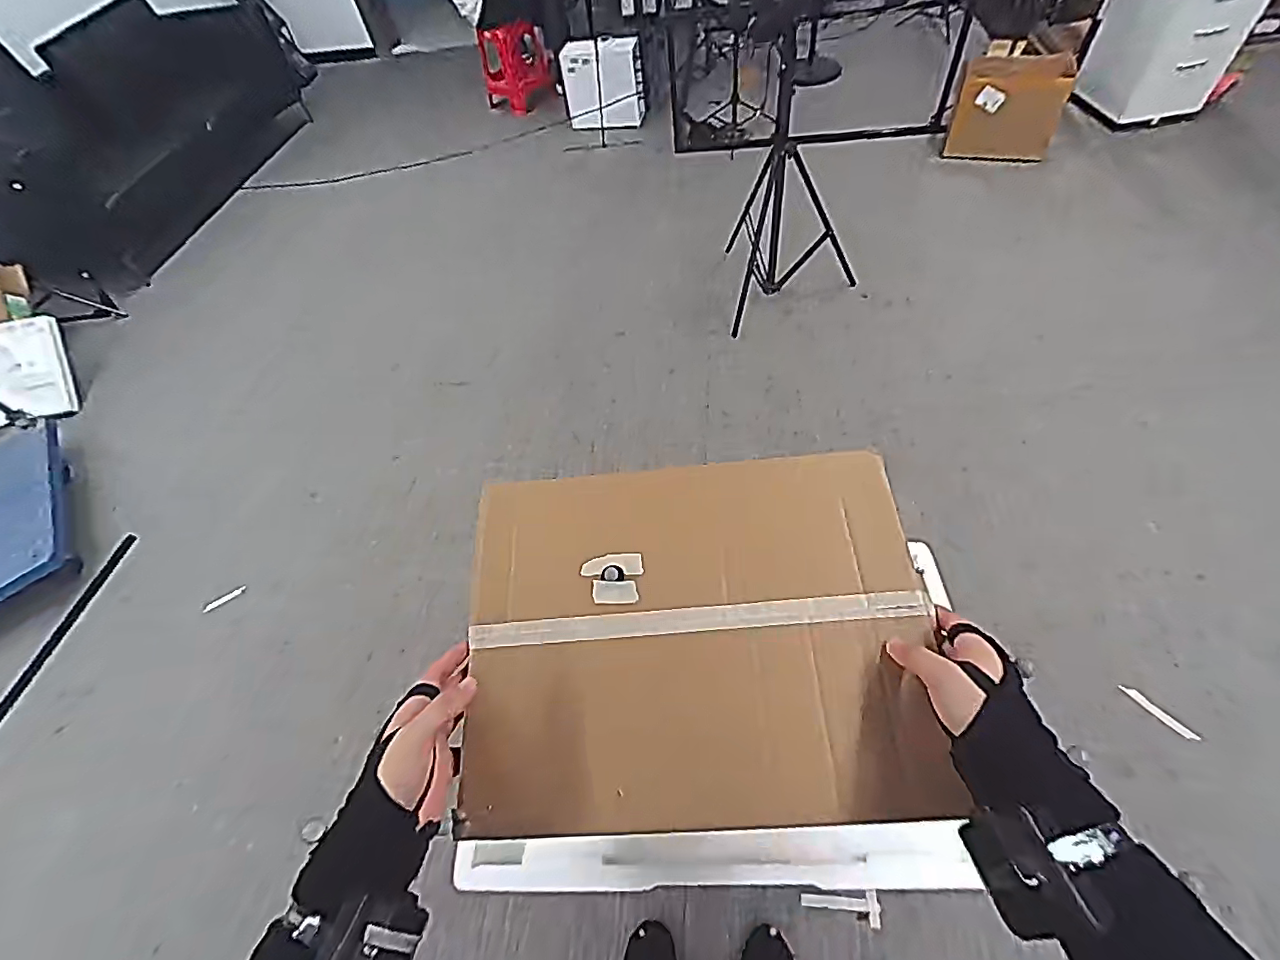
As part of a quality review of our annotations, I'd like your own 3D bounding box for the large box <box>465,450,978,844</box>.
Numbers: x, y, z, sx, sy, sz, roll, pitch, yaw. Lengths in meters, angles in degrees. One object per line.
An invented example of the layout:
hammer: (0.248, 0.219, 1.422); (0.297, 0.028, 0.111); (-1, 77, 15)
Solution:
large box: (0.066, 0.194, 0.613); (0.408, 0.320, 0.320); (-7, 62, 5)
